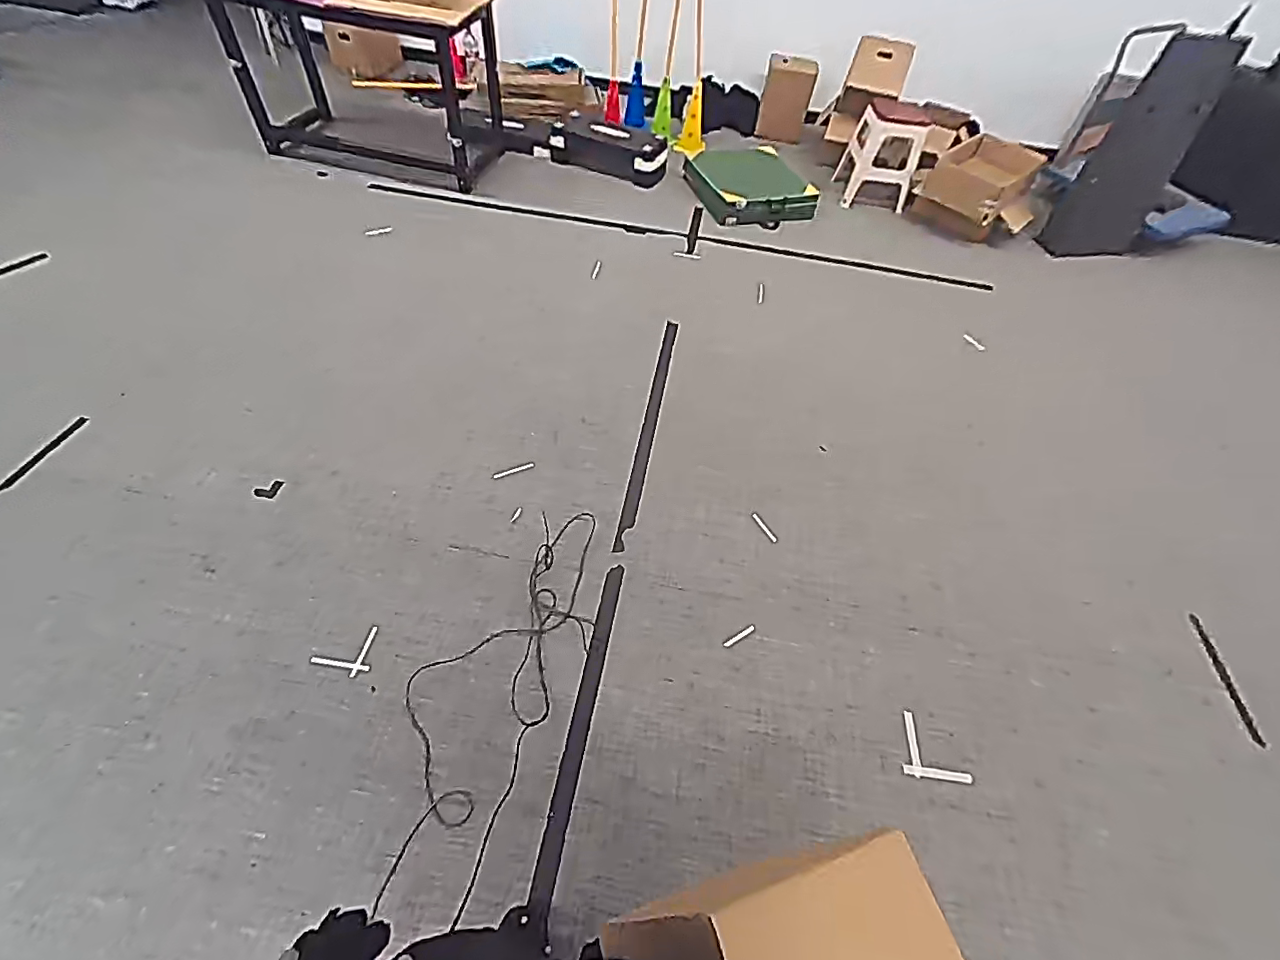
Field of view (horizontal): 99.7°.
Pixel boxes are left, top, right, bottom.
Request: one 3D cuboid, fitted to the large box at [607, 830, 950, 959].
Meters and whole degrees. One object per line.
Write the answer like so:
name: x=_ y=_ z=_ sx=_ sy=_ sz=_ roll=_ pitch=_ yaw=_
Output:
large box: x=0.189 y=0.718 z=0.724 sx=0.320 sy=0.408 sz=0.320 roll=-1 pitch=52 yaw=-25
